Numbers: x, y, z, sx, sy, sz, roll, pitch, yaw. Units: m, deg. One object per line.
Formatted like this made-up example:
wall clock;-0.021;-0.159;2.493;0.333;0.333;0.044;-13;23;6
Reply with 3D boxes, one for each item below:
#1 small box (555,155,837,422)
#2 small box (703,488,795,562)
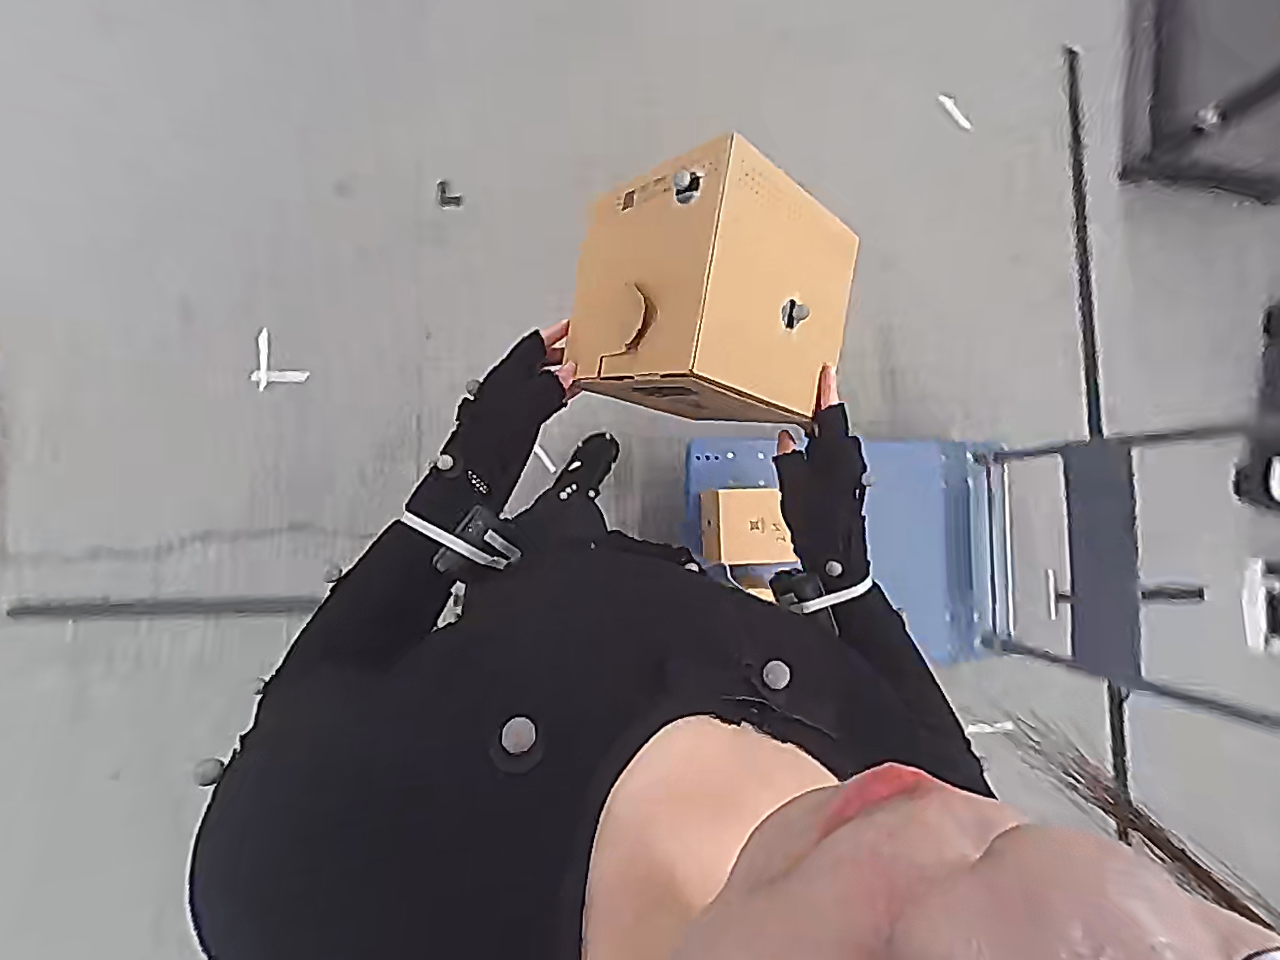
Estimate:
small box;0.050;-0.149;0.473;0.179;0.168;0.176;7;91;-41
small box;0.248;0.105;1.273;0.179;0.176;0.168;-1;87;-8
